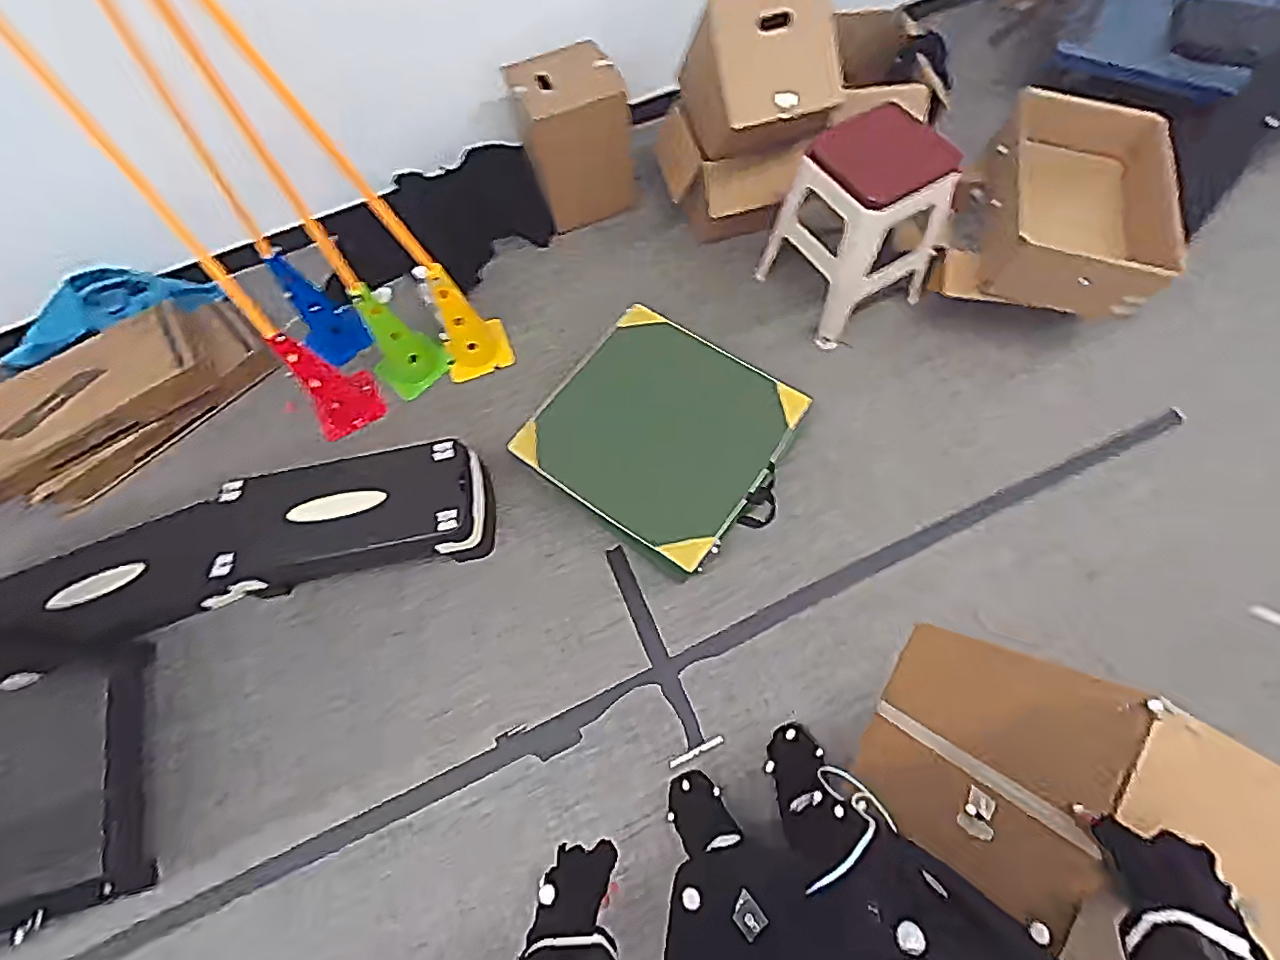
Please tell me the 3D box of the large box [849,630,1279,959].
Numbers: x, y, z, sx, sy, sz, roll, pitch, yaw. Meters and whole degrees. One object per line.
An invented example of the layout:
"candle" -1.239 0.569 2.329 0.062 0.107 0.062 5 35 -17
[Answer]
"large box" 0.562 0.442 0.718 0.320 0.408 0.320 27 84 -3
